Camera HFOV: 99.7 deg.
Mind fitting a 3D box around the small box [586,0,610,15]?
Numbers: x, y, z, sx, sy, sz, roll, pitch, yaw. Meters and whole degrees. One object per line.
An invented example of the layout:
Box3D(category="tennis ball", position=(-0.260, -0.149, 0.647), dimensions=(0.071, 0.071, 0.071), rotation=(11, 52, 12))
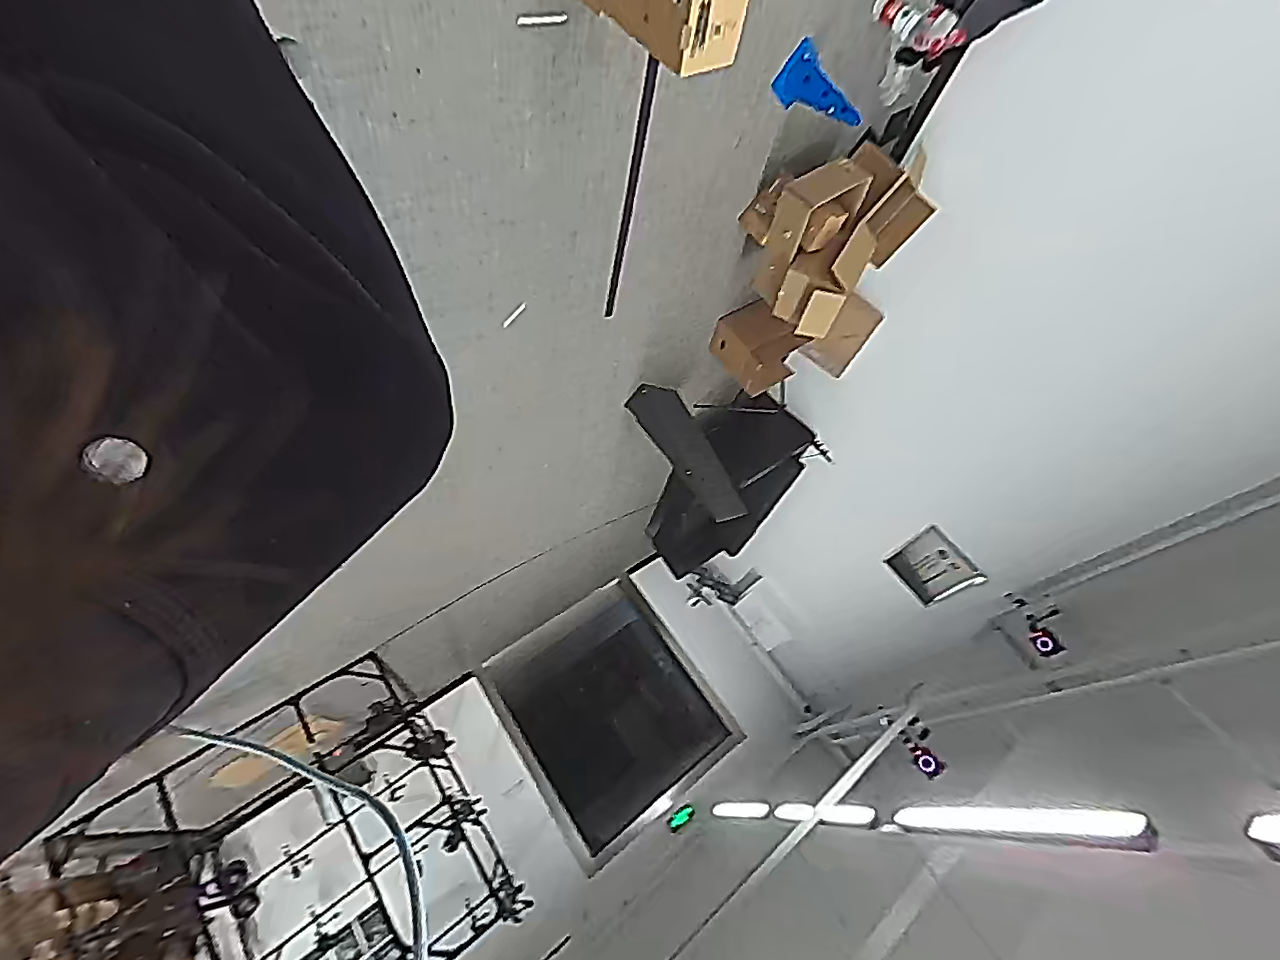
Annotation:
Box3D(category="small box", position=(-0.070, -1.322, 1.361), dimensions=(0.168, 0.176, 0.179), rotation=(-29, 159, -23))

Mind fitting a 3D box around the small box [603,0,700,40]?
Box3D(category="small box", position=(0.035, -1.207, 1.311), dimensions=(0.179, 0.176, 0.168), rotation=(-27, 159, -27))
